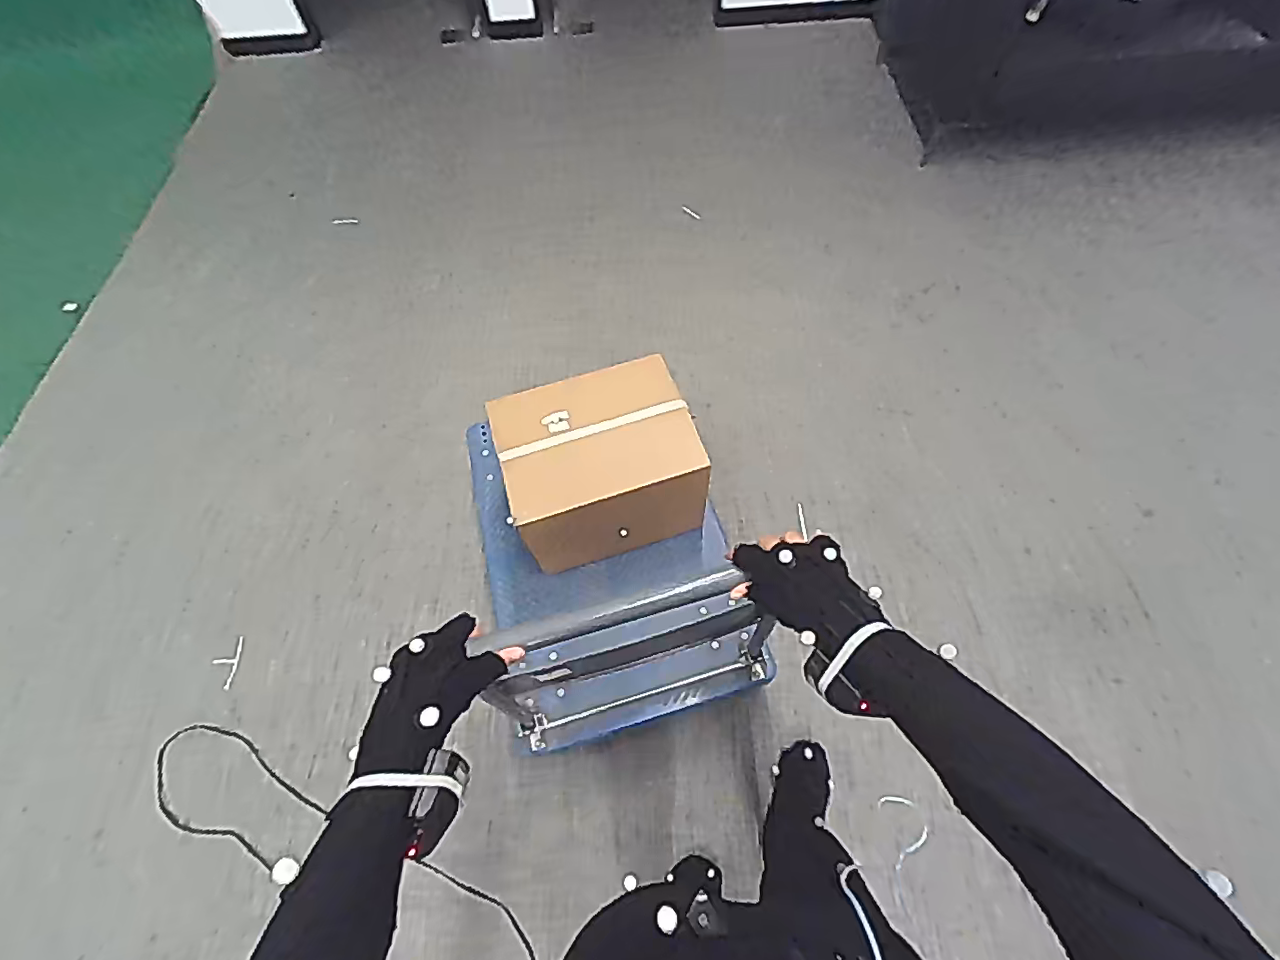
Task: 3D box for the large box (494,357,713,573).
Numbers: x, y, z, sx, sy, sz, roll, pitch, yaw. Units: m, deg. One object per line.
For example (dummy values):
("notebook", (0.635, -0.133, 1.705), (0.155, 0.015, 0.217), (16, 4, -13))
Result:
("large box", (-0.077, -0.024, 1.264), (0.408, 0.320, 0.320), (-18, 62, -6))
